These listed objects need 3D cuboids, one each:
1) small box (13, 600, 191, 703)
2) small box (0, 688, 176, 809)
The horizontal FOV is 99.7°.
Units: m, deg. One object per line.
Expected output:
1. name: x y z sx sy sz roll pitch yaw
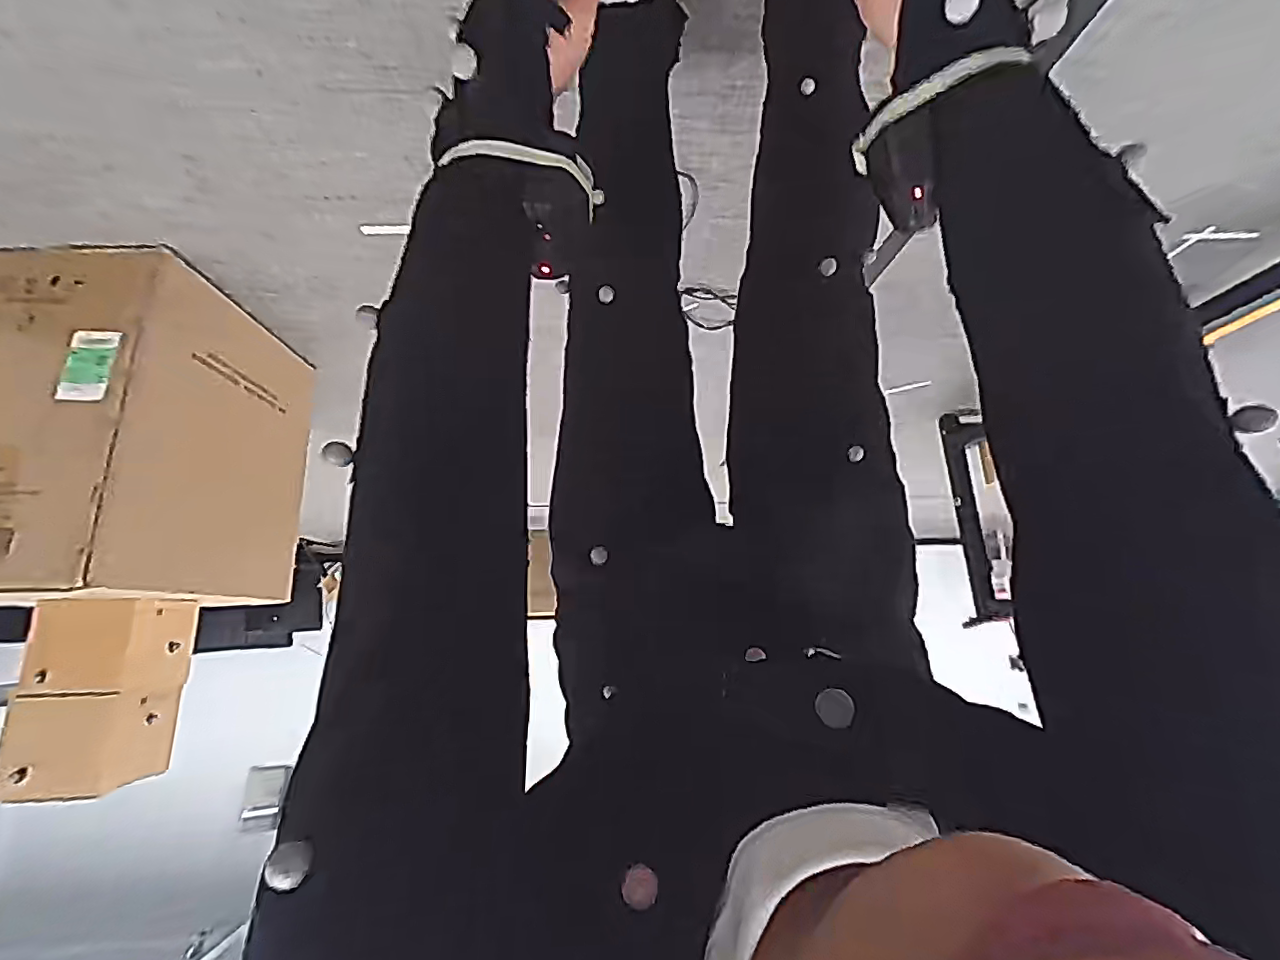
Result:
1. small box: -1.001 0.316 1.027 0.179 0.176 0.168 0 166 -4
2. small box: -1.002 0.476 0.983 0.179 0.176 0.168 0 166 -7
